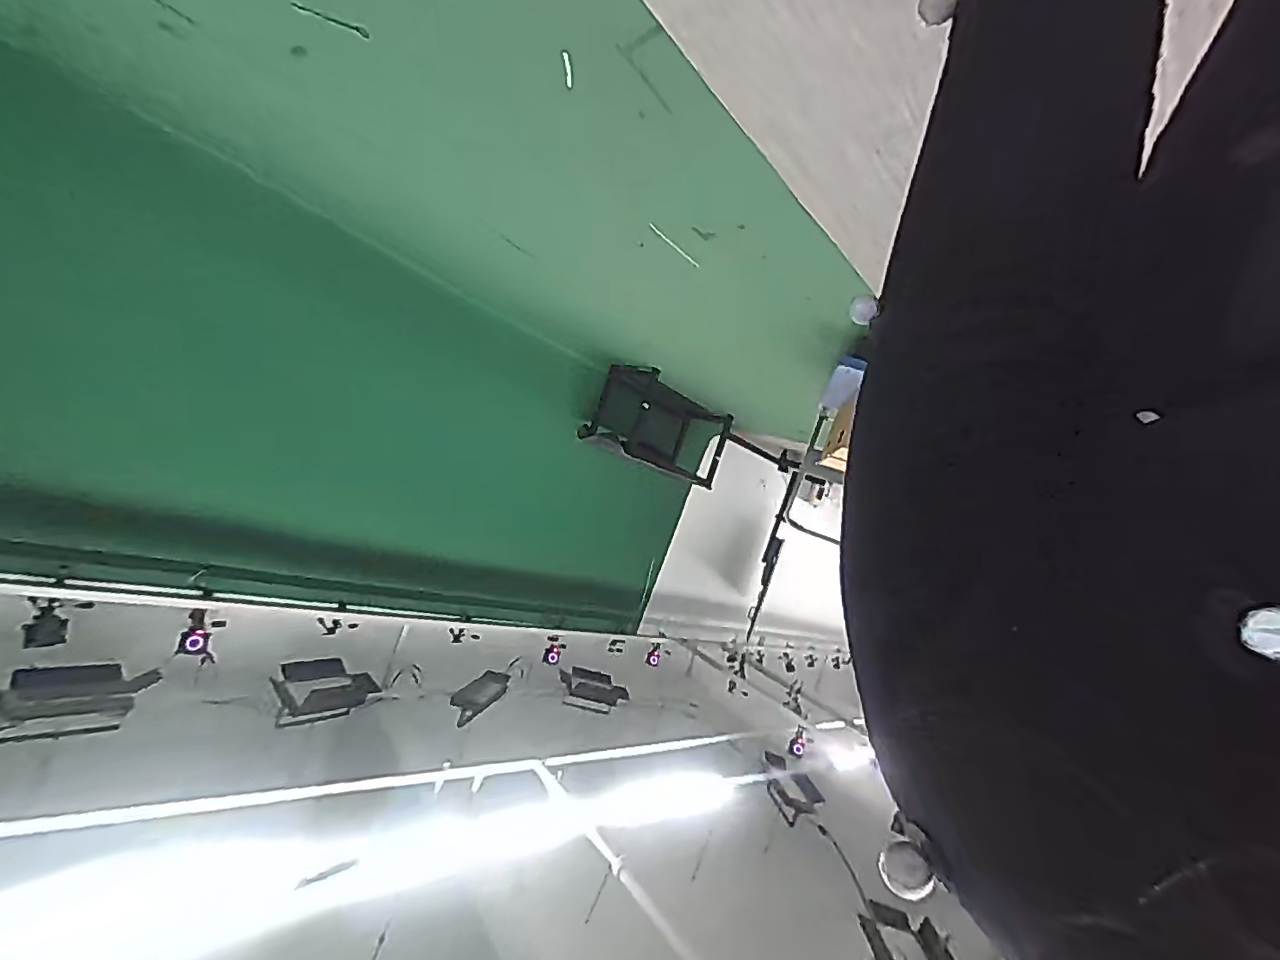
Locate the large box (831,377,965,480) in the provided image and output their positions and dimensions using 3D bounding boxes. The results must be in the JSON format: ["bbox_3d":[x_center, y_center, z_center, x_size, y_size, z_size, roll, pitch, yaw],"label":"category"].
[{"bbox_3d":[1.100,-0.215,2.343,0.408,0.320,0.320,21,-178,10],"label":"large box"}]
